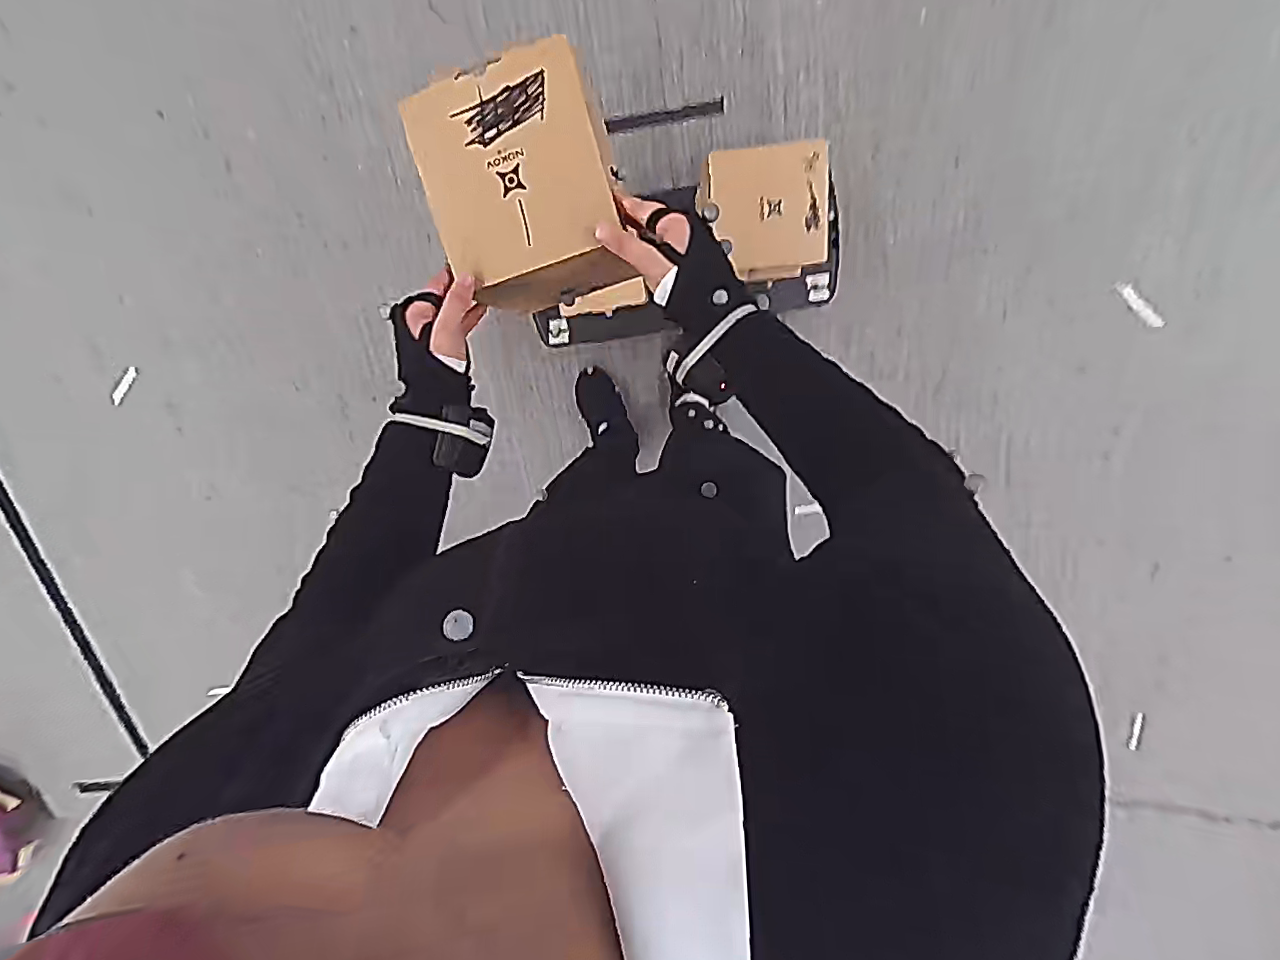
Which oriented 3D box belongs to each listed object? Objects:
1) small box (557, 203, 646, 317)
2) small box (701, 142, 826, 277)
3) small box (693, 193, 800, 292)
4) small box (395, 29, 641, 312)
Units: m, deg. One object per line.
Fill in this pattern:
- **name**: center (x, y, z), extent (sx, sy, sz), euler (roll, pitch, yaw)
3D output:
- **small box**: center (-0.082, -0.422, 1.058), extent (0.168, 0.176, 0.179), euler (-8, 109, 5)
- **small box**: center (0.190, -0.425, 0.876), extent (0.179, 0.176, 0.168), euler (-4, 109, 4)
- **small box**: center (0.196, -0.459, 1.036), extent (0.179, 0.176, 0.168), euler (-7, 107, 5)
- **small box**: center (-0.105, -0.286, 0.547), extent (0.168, 0.176, 0.179), euler (-15, 99, 9)
